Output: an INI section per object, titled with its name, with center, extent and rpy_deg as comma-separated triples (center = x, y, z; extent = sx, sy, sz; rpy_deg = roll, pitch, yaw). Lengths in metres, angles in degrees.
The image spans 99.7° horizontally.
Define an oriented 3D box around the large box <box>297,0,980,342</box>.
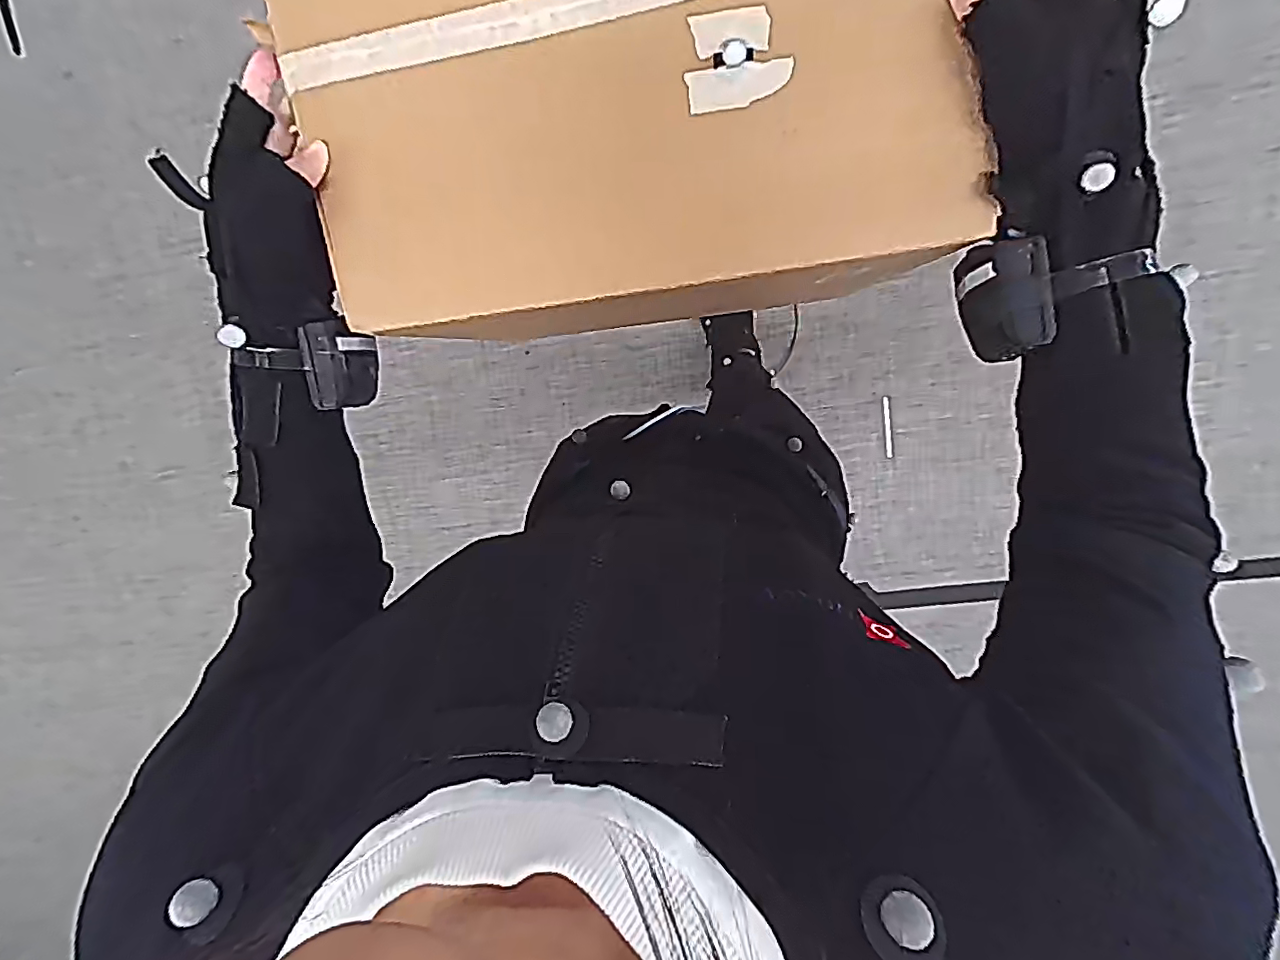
[large box]
center = 0.001, -0.308, 0.464
extent = 0.408, 0.320, 0.320
rpy_deg = -6, 103, 8
